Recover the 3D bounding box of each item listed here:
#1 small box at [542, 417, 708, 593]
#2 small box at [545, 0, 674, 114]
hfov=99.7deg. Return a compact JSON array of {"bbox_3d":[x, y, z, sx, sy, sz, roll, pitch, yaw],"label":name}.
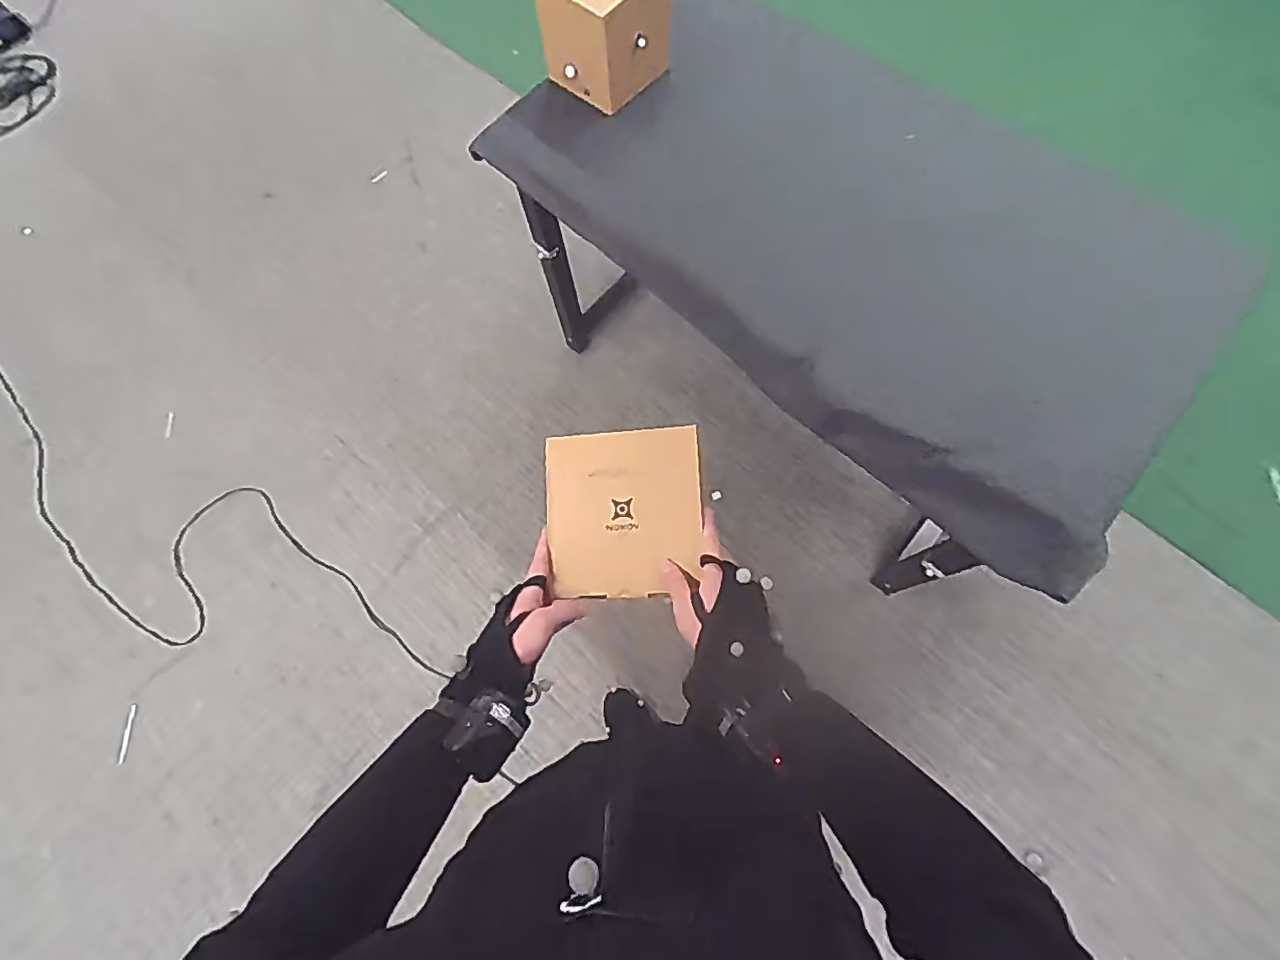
[{"bbox_3d":[-0.008,0.034,0.634,0.168,0.176,0.179,-4,82,7],"label":"small box"},{"bbox_3d":[-0.054,-0.814,0.970,0.168,0.176,0.179,40,77,14],"label":"small box"}]
